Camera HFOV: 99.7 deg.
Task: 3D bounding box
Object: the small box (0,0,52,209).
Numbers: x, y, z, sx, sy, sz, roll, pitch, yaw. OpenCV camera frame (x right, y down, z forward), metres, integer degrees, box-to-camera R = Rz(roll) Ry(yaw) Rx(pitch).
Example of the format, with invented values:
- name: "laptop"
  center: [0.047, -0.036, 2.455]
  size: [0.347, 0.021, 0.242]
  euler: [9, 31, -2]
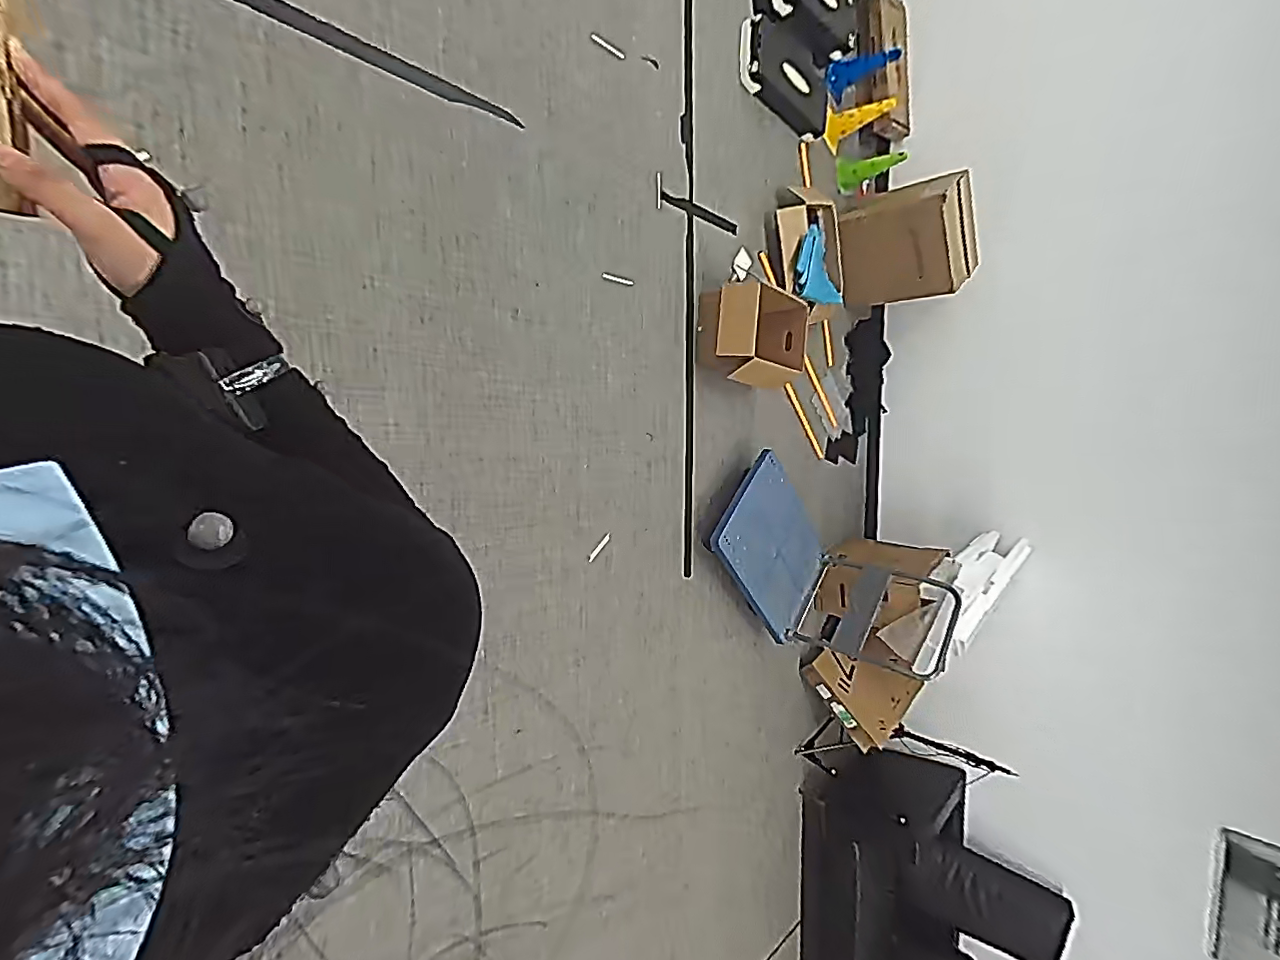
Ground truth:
- name: "small box"
  center: [-0.452, -0.254, 0.287]
  size: [0.179, 0.176, 0.168]
  euler: [-4, 113, -44]
